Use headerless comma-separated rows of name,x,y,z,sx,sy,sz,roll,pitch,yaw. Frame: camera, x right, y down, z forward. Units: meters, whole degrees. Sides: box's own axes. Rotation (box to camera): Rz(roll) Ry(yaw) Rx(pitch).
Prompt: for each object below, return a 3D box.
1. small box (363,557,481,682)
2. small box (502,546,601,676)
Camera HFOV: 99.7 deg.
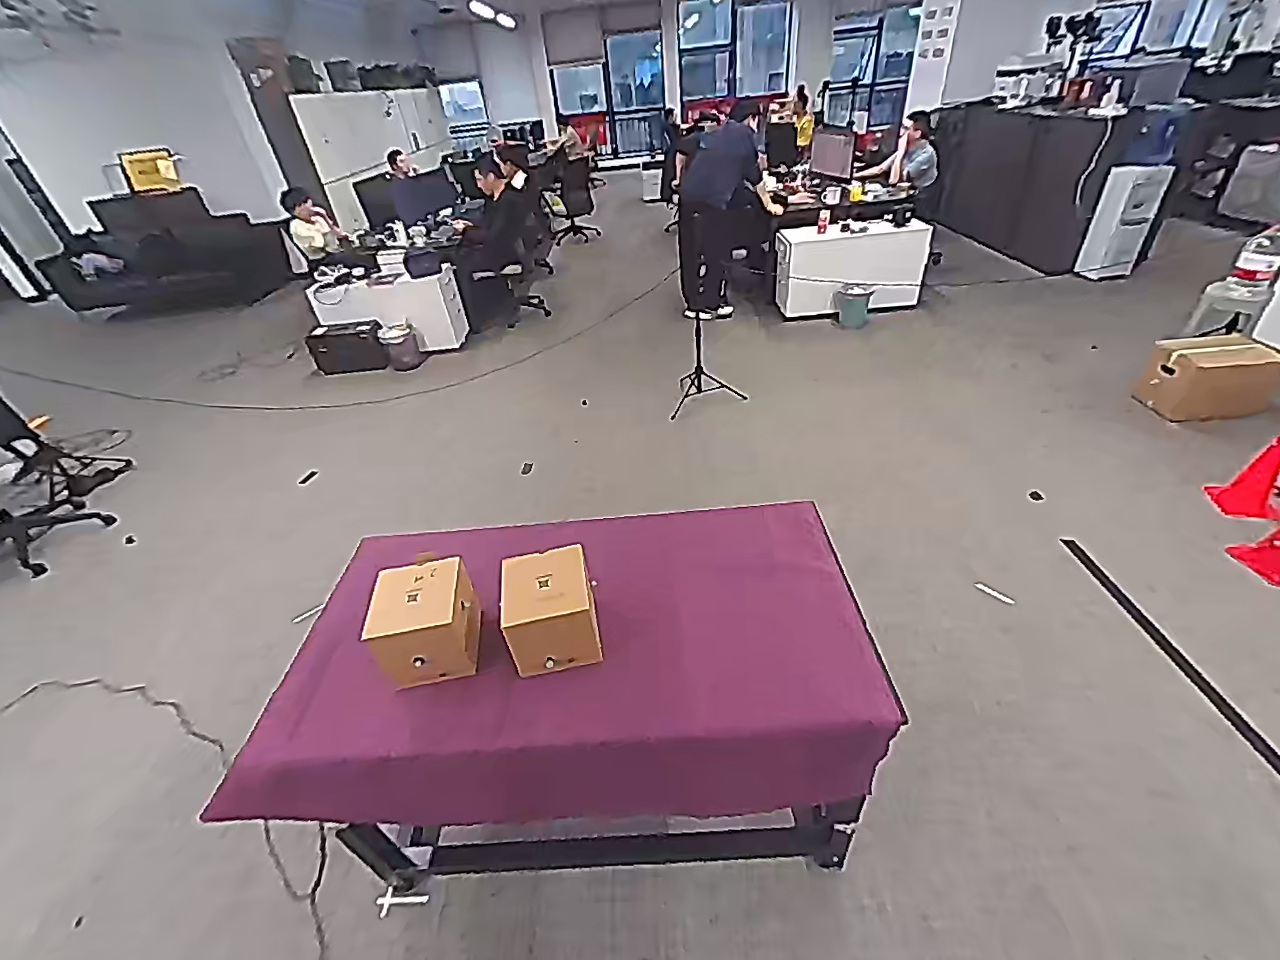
small box,-0.428,0.288,1.097,0.168,0.176,0.179,-9,37,-5
small box,-0.177,0.264,1.094,0.168,0.176,0.179,-11,37,-5
